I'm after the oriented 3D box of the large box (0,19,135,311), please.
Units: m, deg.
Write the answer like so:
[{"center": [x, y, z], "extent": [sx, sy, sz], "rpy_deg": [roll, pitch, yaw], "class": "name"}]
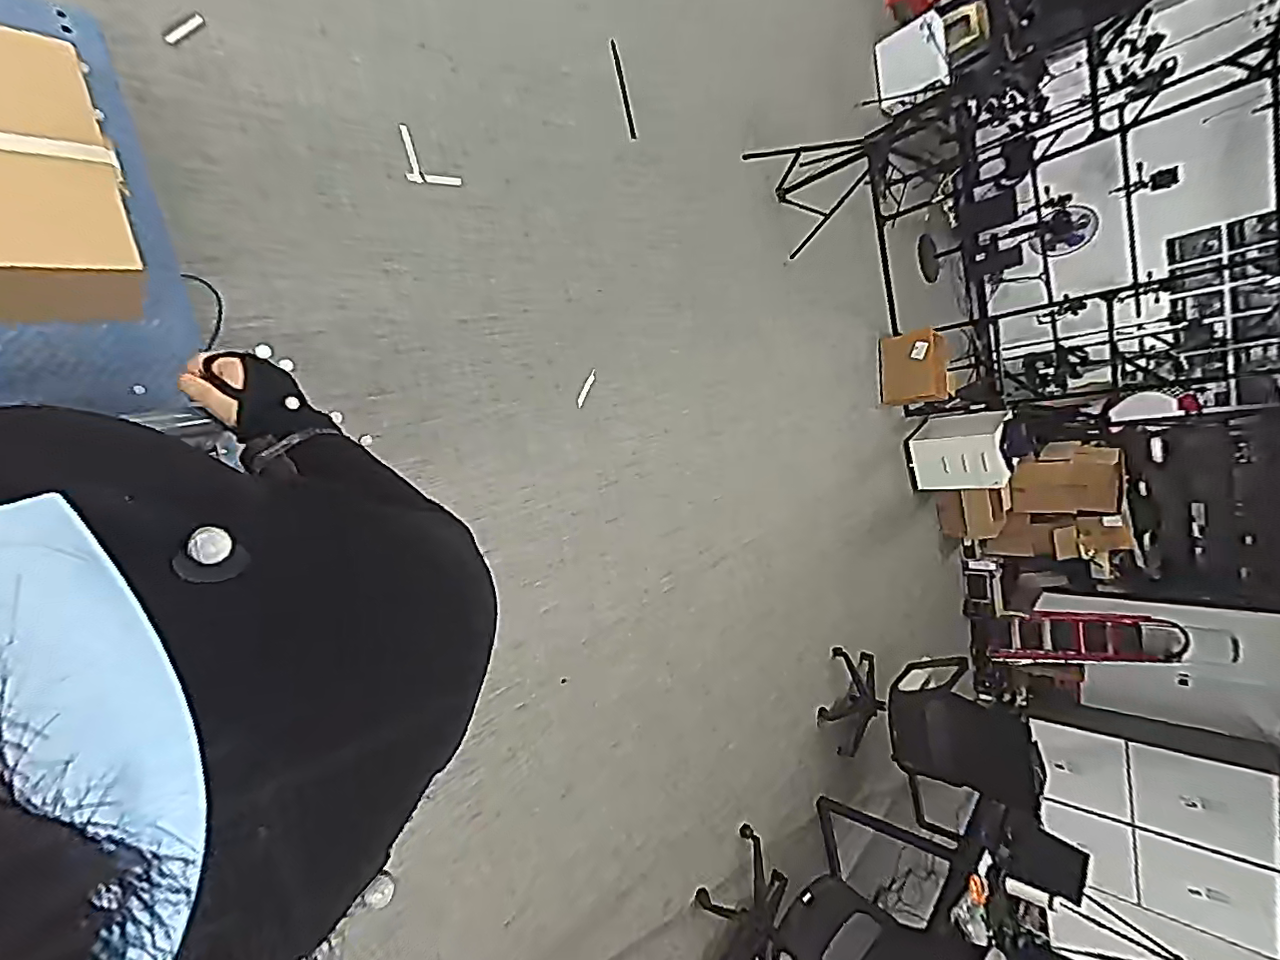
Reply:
[{"center": [-1.018, -0.425, 0.753], "extent": [0.408, 0.320, 0.320], "rpy_deg": [-19, 100, -42], "class": "large box"}]
